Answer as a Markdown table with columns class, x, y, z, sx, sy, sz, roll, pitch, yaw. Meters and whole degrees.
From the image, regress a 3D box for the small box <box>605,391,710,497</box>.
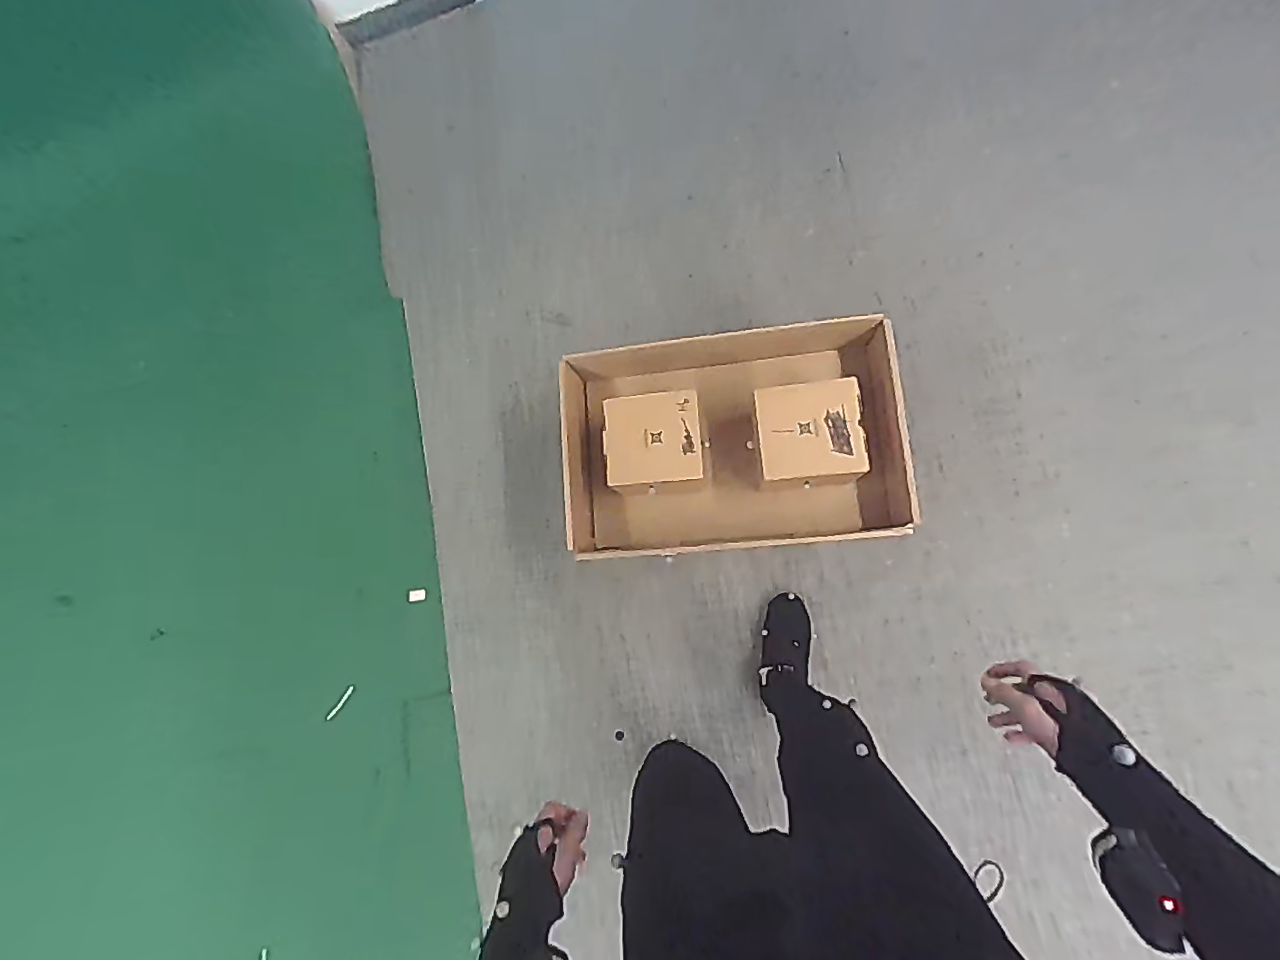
| class | x | y | z | sx | sy | sz | roll | pitch | yaw |
| --- | --- | --- | --- | --- | --- | --- | --- | --- | --- |
| small box | 0.038 | -0.061 | 1.039 | 0.179 | 0.176 | 0.168 | -4 | 81 | 10 |
